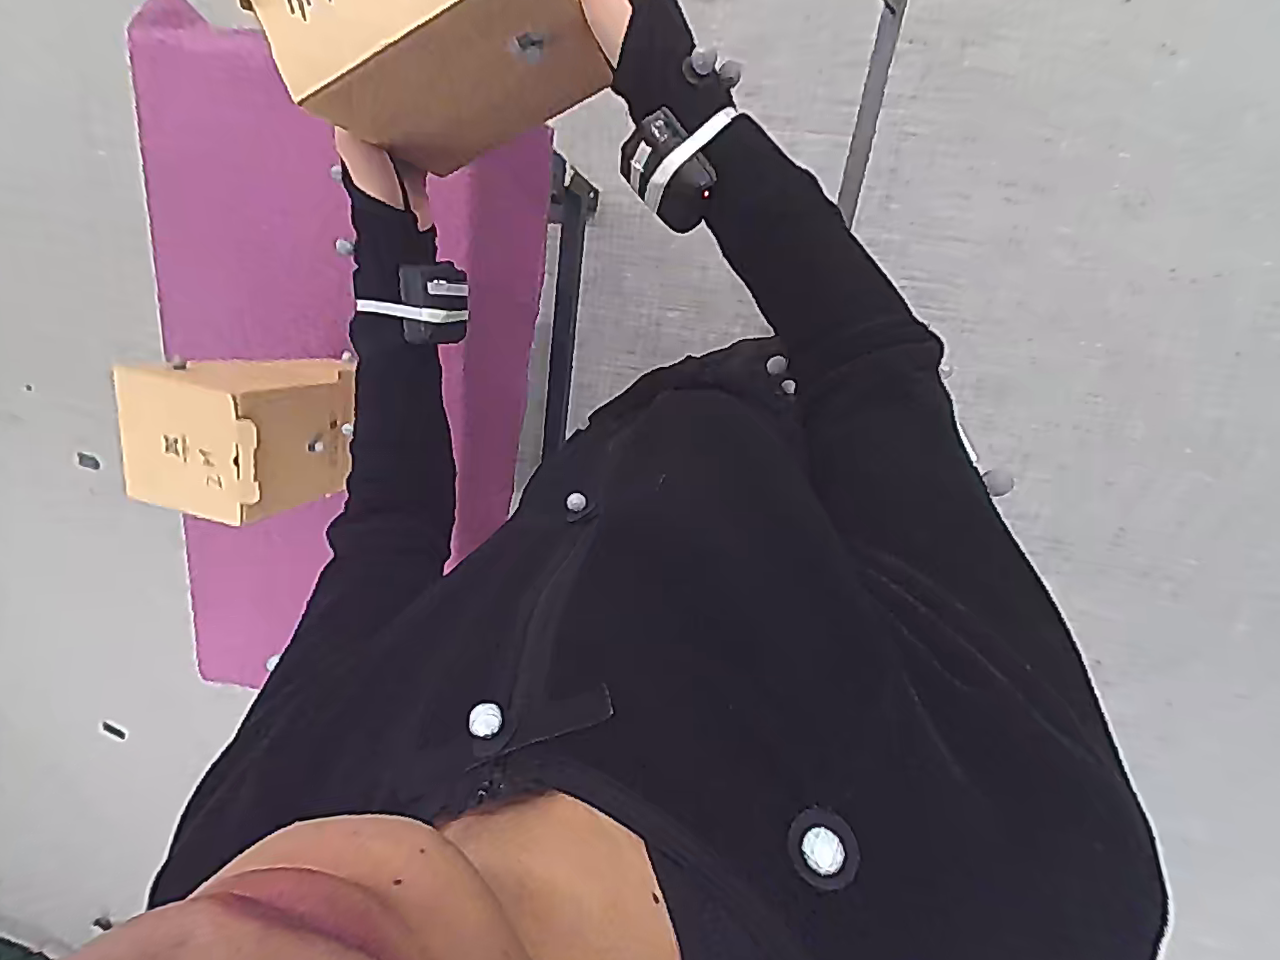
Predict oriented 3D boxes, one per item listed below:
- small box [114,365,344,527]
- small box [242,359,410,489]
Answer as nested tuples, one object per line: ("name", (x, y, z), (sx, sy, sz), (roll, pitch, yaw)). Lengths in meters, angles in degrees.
("small box", (-0.529, -0.056, 0.717), (0.179, 0.176, 0.168), (12, 107, 9))
("small box", (-0.492, -0.098, 0.872), (0.168, 0.176, 0.179), (6, 105, 10))
